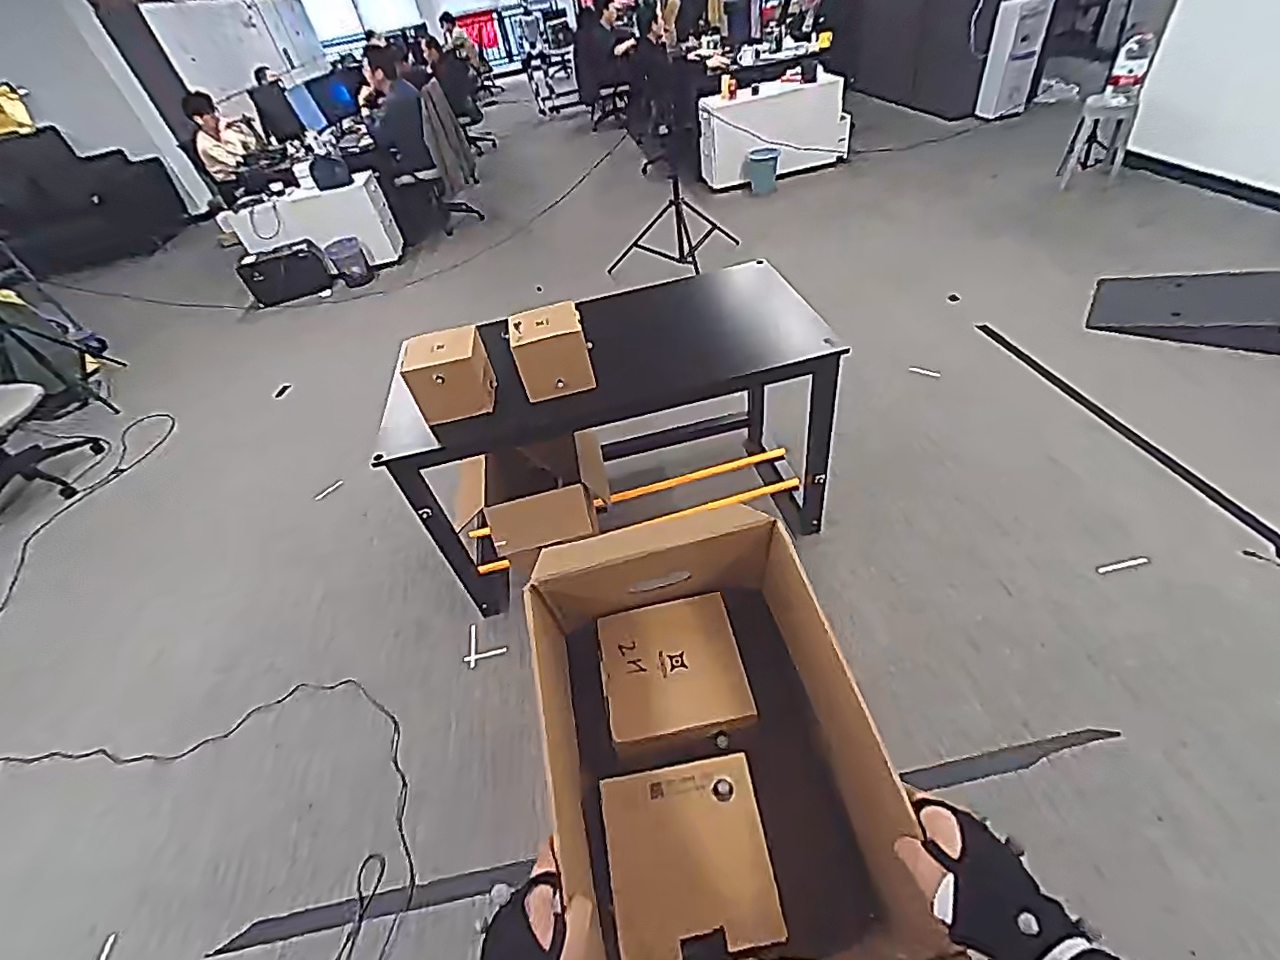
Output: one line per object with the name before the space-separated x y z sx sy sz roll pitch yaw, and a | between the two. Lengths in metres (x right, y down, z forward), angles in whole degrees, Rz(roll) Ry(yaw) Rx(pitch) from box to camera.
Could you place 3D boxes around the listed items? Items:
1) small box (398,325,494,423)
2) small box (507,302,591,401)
small box | -0.485 -0.267 1.376 0.179 0.176 0.168 -13 45 -2
small box | -0.229 -0.327 1.383 0.179 0.176 0.168 -14 43 -3
